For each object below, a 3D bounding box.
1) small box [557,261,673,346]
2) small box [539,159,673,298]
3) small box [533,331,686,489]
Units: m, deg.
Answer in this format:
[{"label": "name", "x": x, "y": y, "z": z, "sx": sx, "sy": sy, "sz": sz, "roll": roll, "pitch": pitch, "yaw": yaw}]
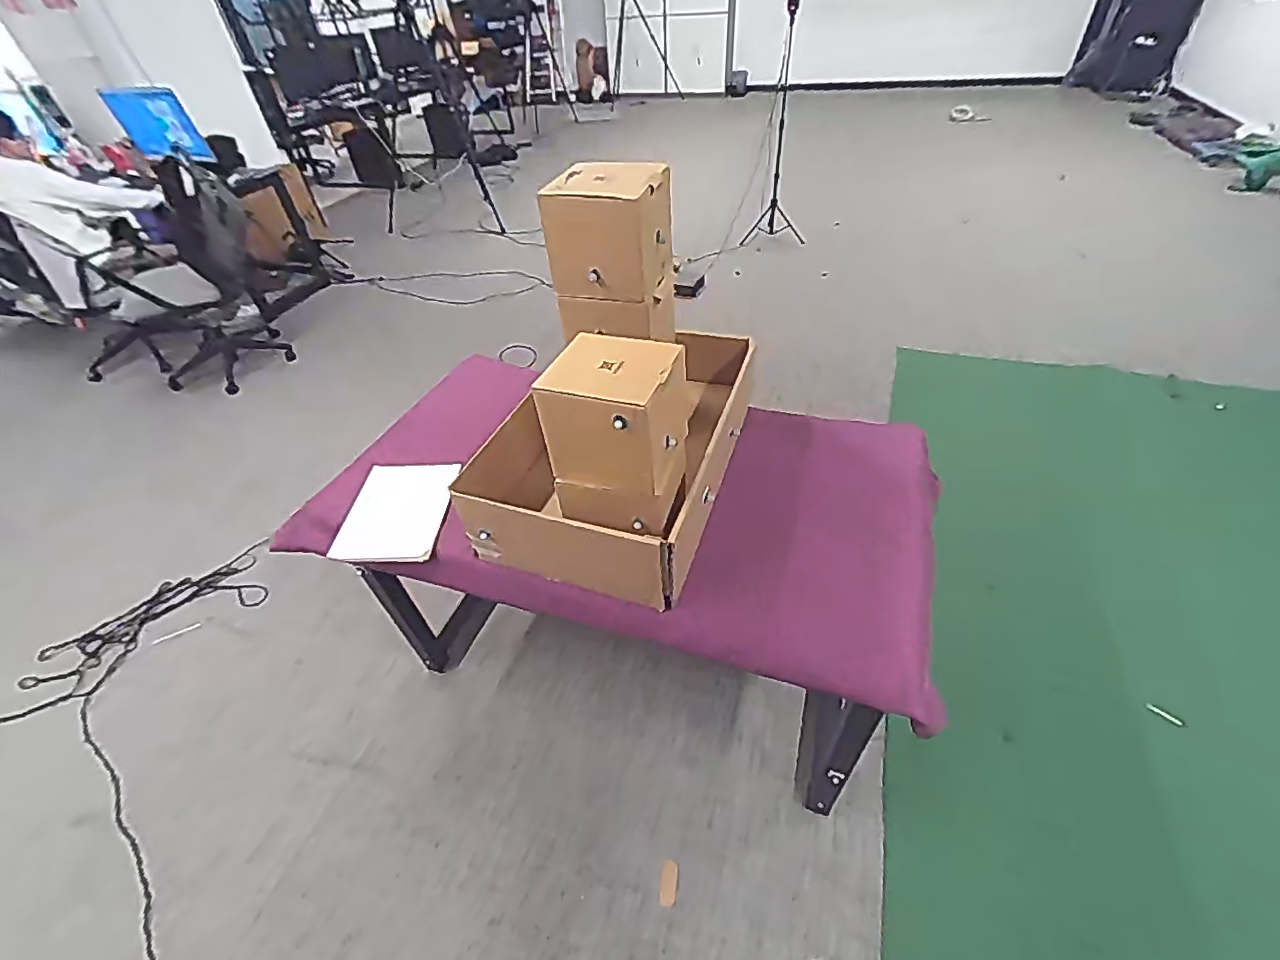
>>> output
[{"label": "small box", "x": -0.037, "y": -0.314, "z": 1.049, "sx": 0.179, "sy": 0.176, "sz": 0.168, "roll": 10, "pitch": 46, "yaw": 15}, {"label": "small box", "x": -0.049, "y": -0.434, "z": 0.937, "sx": 0.179, "sy": 0.176, "sz": 0.168, "roll": 13, "pitch": 47, "yaw": 16}, {"label": "small box", "x": -0.036, "y": -0.106, "z": 0.825, "sx": 0.179, "sy": 0.176, "sz": 0.168, "roll": 12, "pitch": 45, "yaw": 17}]
